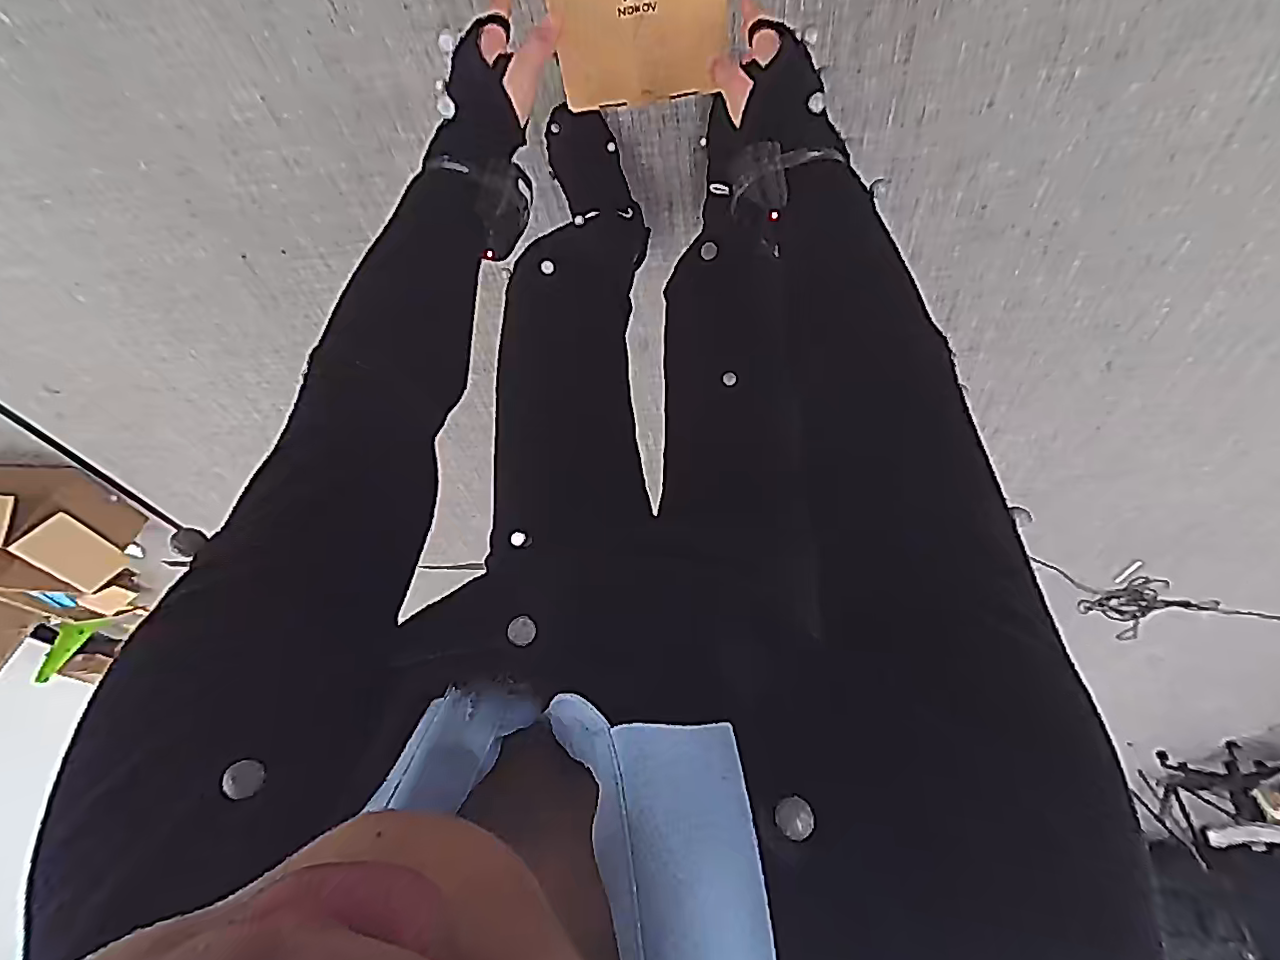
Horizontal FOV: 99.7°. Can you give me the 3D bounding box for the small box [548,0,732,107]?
[{"bbox_3d":[0.003,-0.499,0.520,0.168,0.176,0.179,-1,143,10],"label":"small box"}]
